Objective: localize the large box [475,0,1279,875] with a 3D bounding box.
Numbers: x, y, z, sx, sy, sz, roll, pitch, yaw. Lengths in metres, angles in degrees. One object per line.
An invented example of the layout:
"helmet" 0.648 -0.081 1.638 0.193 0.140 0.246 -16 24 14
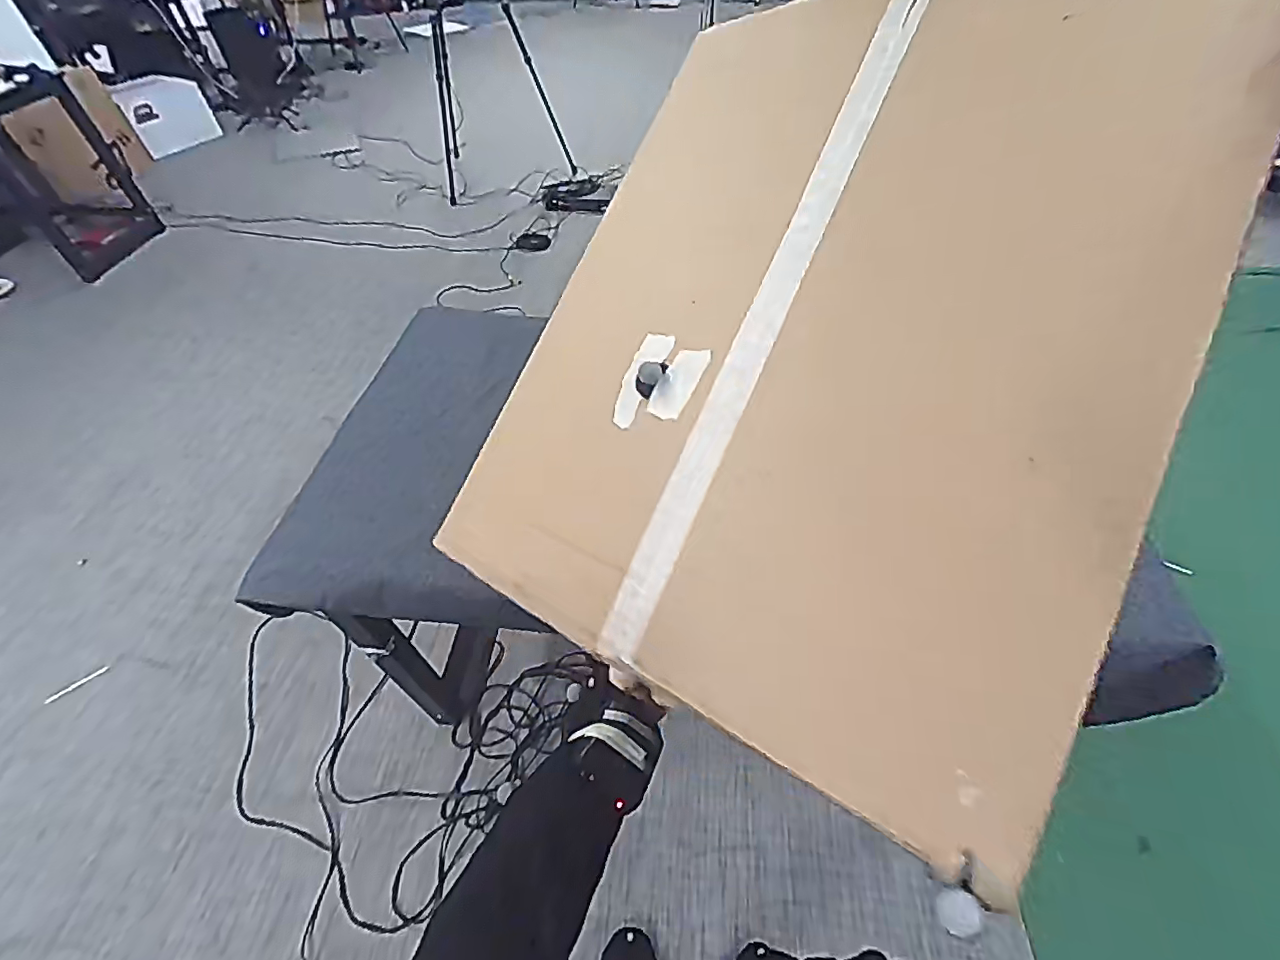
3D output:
"large box" 0.158 -0.042 0.410 0.320 0.320 0.408 19 82 35
